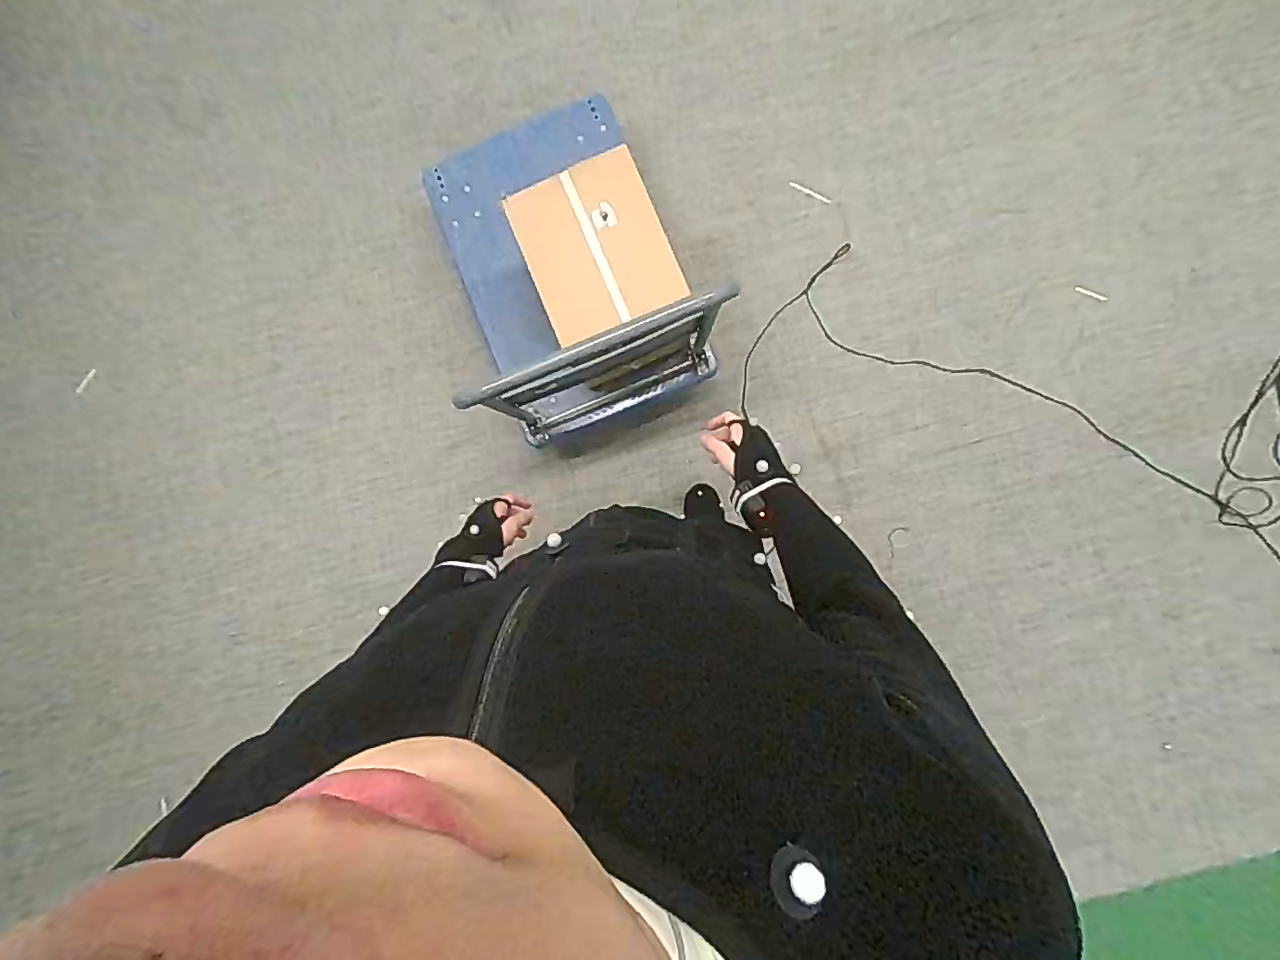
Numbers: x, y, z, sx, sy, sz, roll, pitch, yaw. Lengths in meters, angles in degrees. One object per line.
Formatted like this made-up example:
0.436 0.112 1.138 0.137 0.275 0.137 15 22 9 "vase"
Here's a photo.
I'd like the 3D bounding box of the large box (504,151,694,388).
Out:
-0.083 -0.498 1.361 0.320 0.320 0.408 -23 86 1 "large box"
